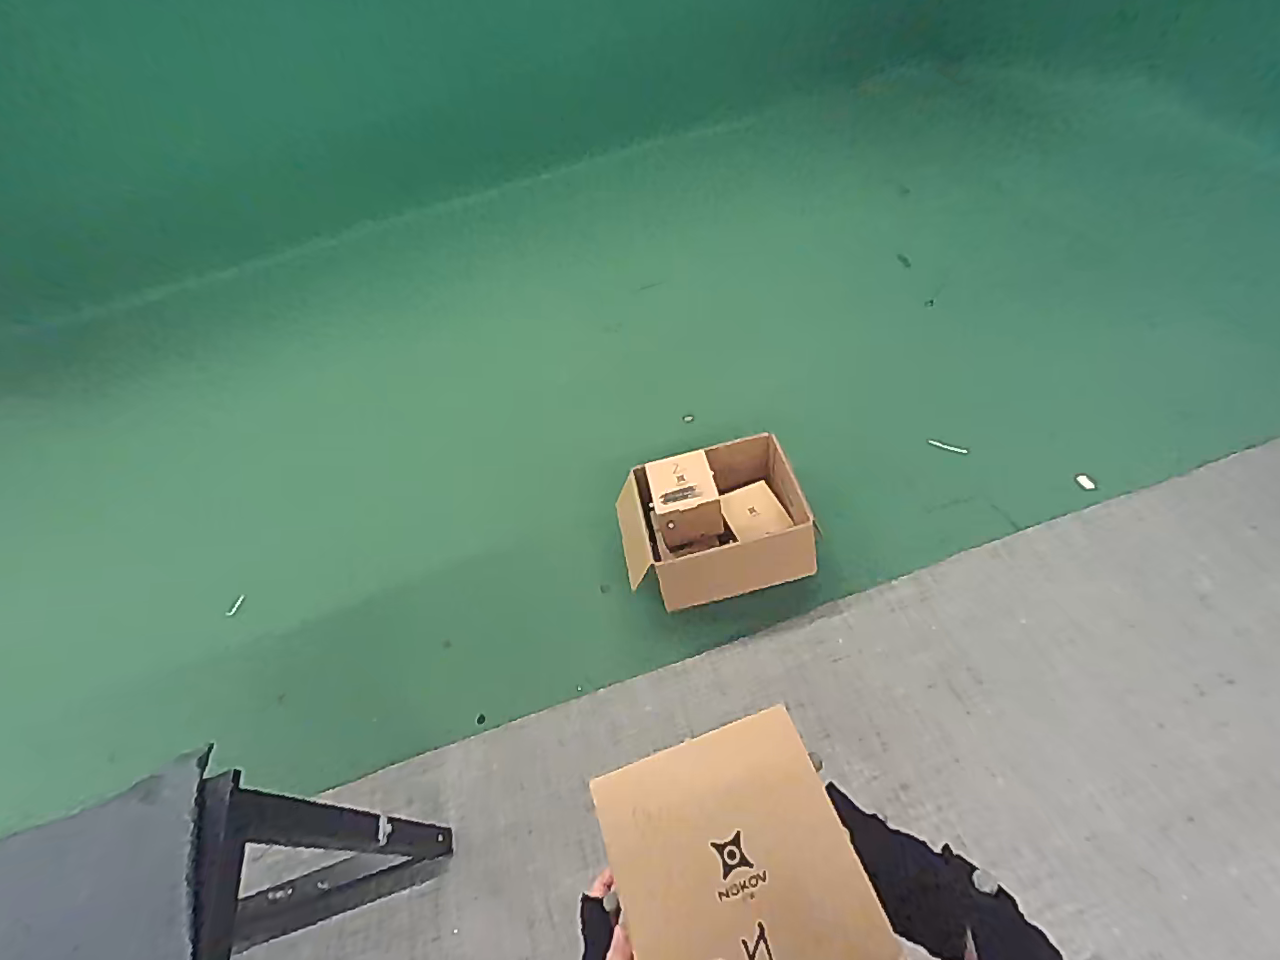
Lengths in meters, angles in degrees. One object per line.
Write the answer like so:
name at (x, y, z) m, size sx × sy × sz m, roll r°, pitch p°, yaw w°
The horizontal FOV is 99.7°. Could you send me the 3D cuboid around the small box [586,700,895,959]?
small box at (0.064, 0.311, 0.440) m, size 0.168 × 0.176 × 0.179 m, roll -18°, pitch 56°, yaw -7°
